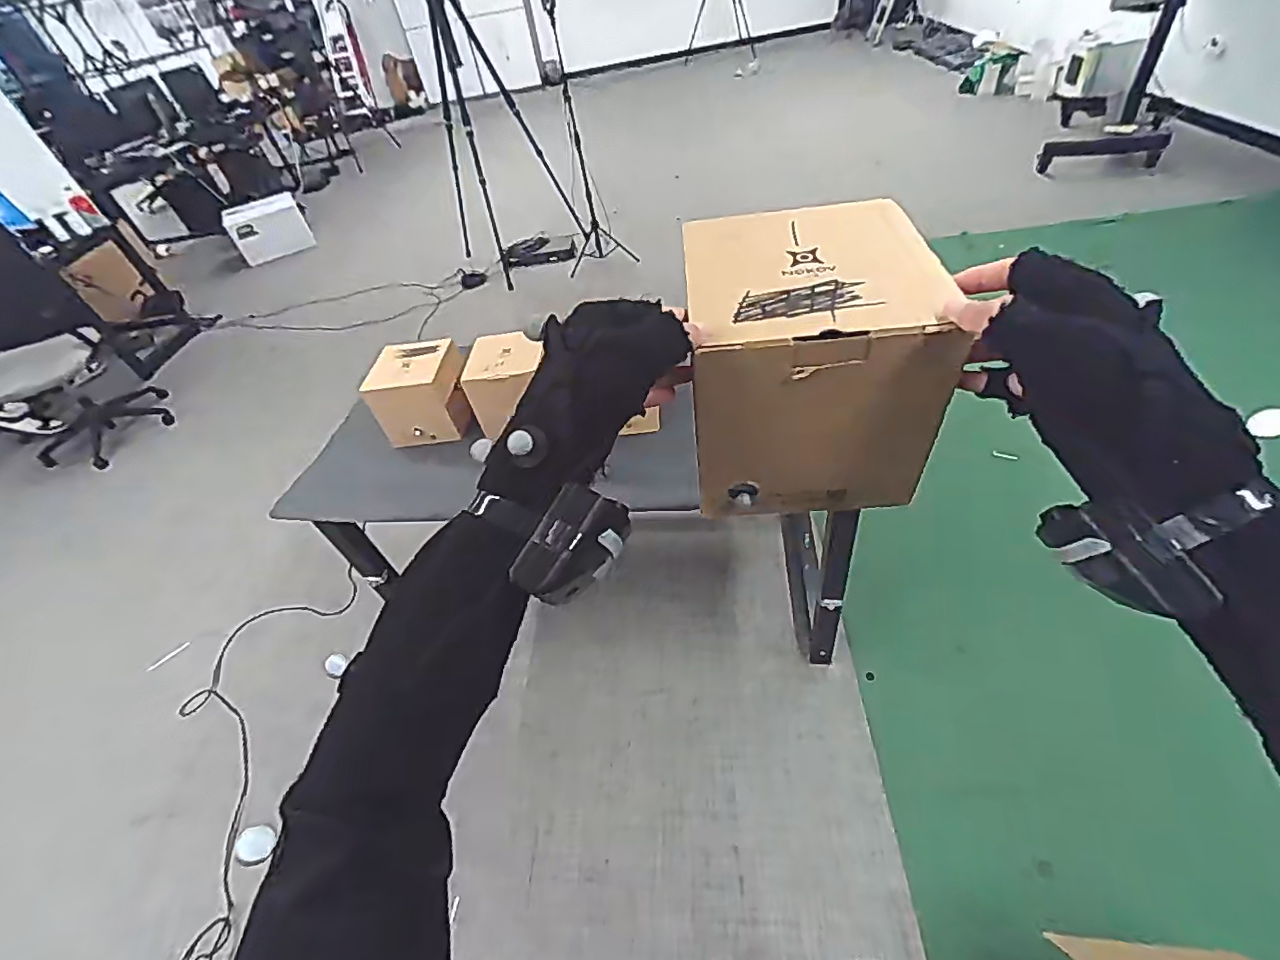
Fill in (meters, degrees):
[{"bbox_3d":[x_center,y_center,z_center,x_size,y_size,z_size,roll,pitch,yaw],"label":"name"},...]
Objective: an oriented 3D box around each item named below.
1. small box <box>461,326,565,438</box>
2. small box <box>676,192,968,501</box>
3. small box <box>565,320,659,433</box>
[{"bbox_3d":[-0.270,-0.215,1.199,0.168,0.176,0.179,-6,45,7],"label":"small box"},{"bbox_3d":[0.118,-0.095,0.424,0.168,0.176,0.179,-4,47,6],"label":"small box"},{"bbox_3d":[-0.050,-0.214,1.152,0.168,0.176,0.179,-5,45,7],"label":"small box"}]
